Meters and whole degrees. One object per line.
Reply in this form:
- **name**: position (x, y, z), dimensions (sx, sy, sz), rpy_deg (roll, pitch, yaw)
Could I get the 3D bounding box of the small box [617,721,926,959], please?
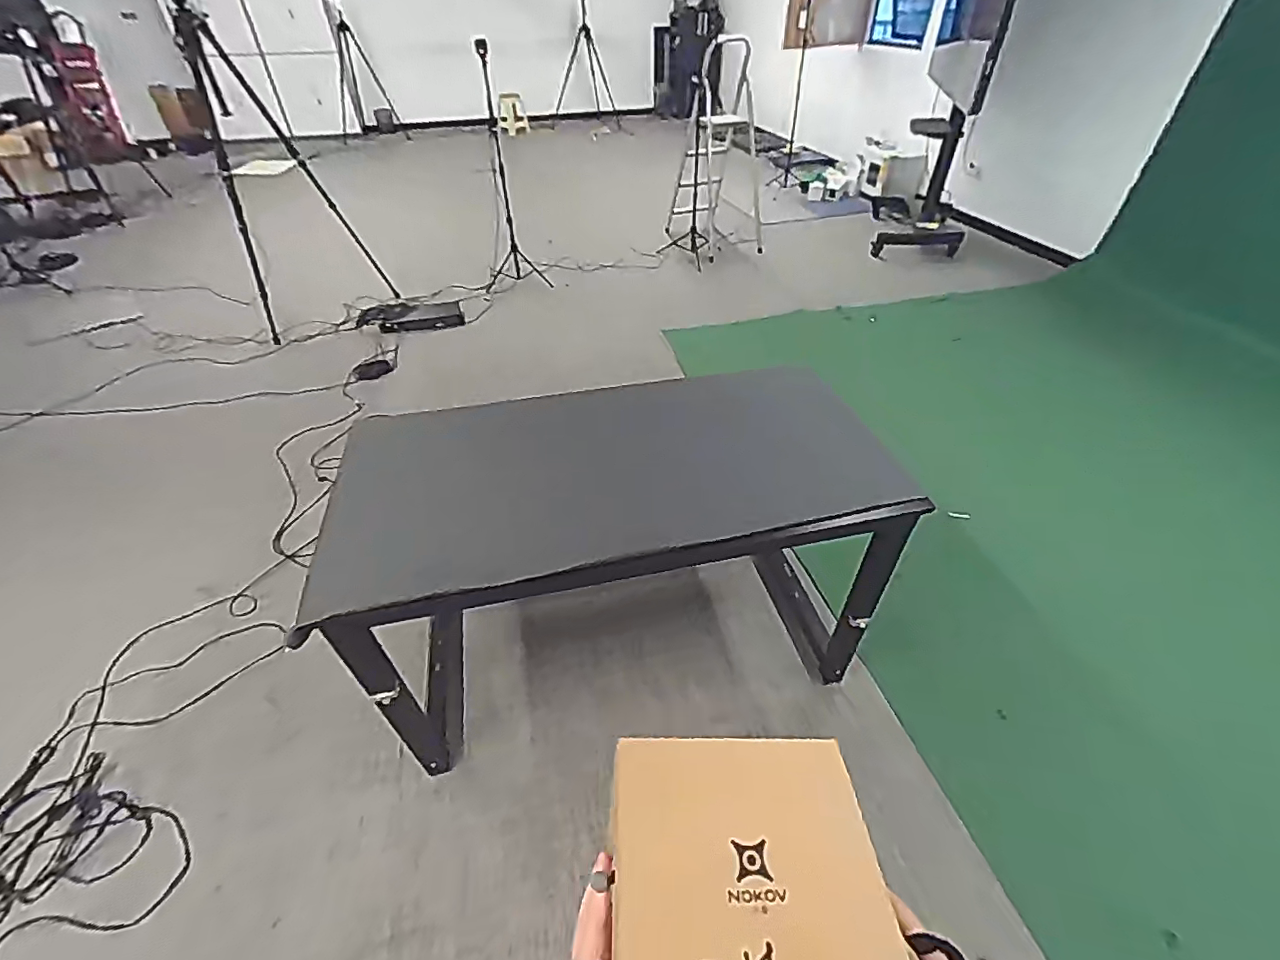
- **small box**: position (0.069, 0.297, 0.380), dimensions (0.168, 0.176, 0.179), rpy_deg (2, 37, -4)
